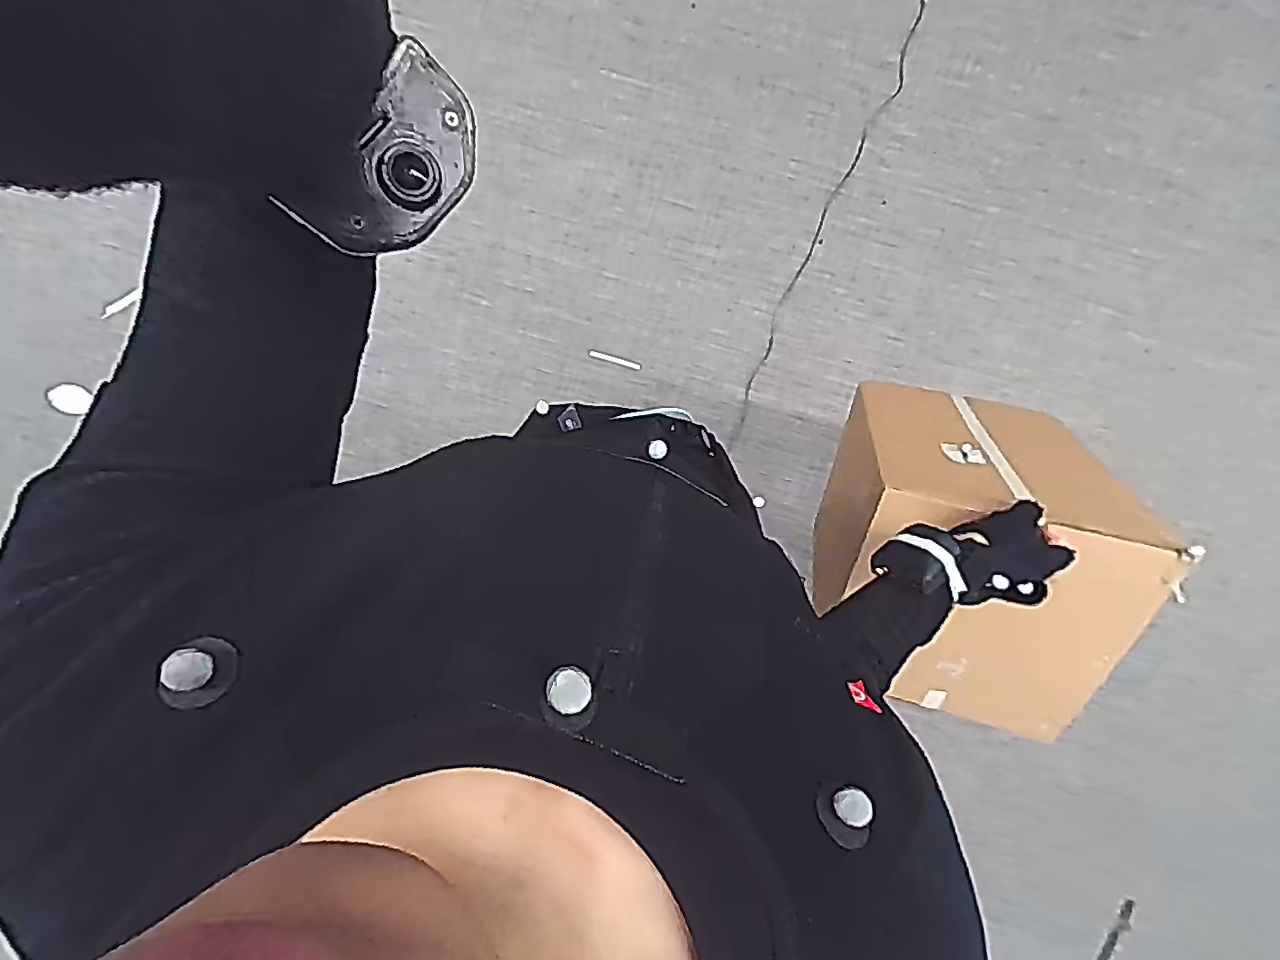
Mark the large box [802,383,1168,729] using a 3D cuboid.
[{"bbox_3d":[0.448,0.085,0.841,0.320,0.408,0.320,13,122,10],"label":"large box"}]
